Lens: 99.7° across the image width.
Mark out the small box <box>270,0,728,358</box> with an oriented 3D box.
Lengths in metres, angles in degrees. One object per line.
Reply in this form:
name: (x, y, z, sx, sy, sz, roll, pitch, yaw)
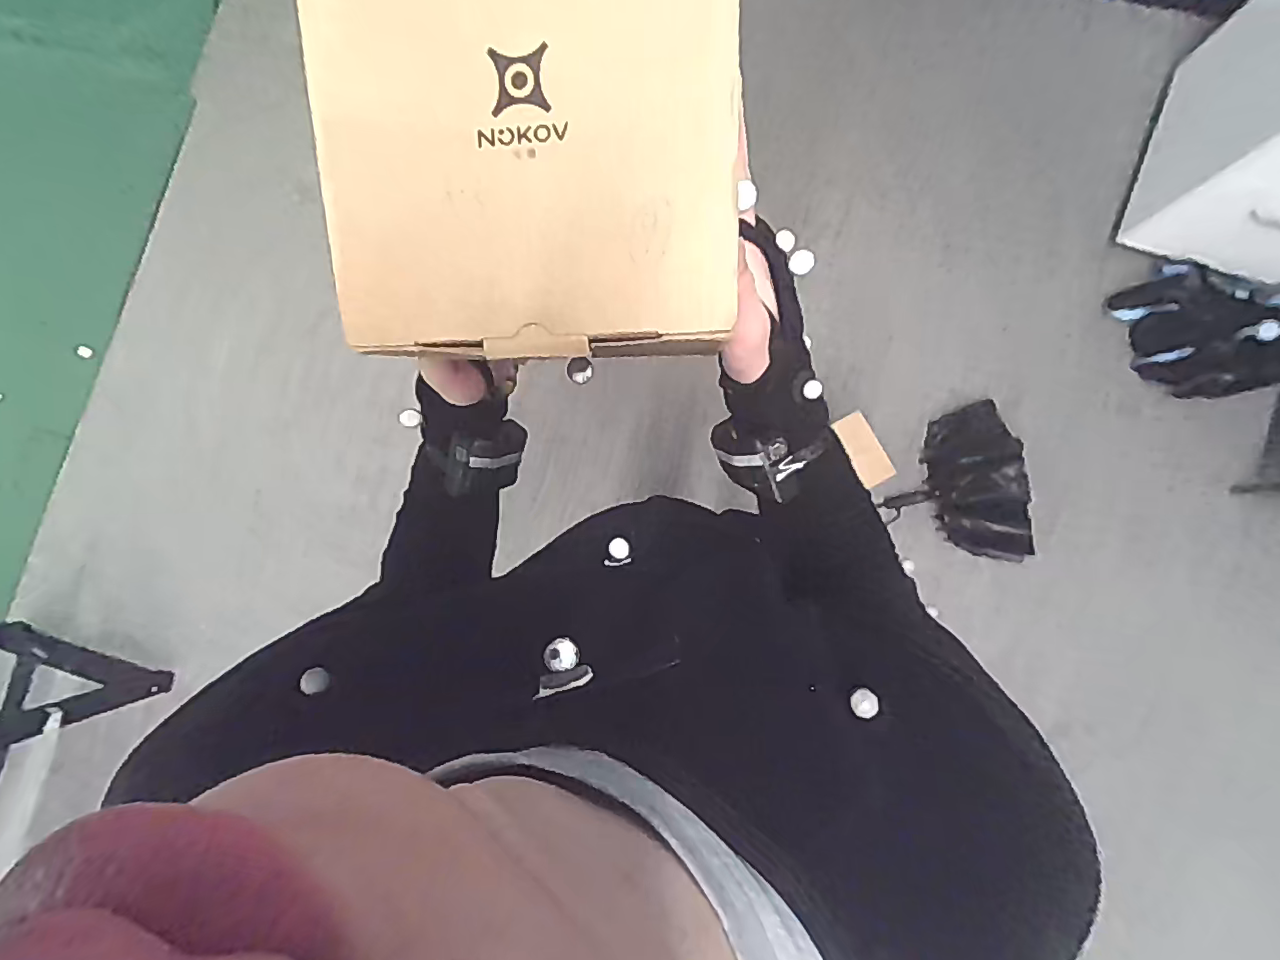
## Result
small box: (-0.044, -0.155, 0.274, 0.168, 0.176, 0.179, -1, 103, 4)
